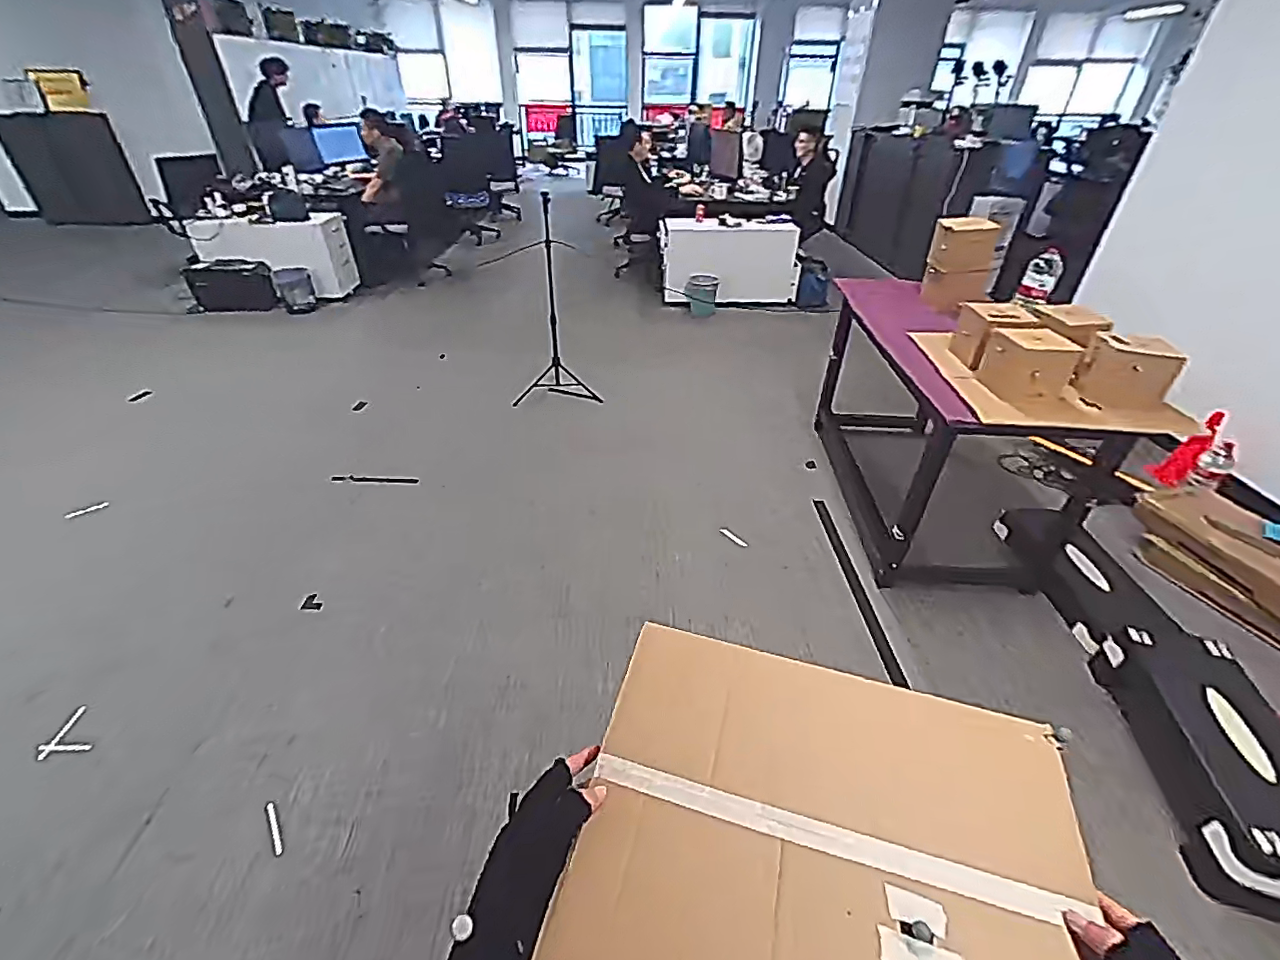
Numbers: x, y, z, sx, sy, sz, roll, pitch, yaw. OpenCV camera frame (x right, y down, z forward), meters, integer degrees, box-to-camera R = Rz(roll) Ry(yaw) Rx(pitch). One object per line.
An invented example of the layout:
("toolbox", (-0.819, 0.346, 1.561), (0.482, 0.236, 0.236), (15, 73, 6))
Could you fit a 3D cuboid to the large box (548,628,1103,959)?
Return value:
("large box", (0.159, 0.409, 0.561), (0.408, 0.320, 0.320), (12, 44, 12))
